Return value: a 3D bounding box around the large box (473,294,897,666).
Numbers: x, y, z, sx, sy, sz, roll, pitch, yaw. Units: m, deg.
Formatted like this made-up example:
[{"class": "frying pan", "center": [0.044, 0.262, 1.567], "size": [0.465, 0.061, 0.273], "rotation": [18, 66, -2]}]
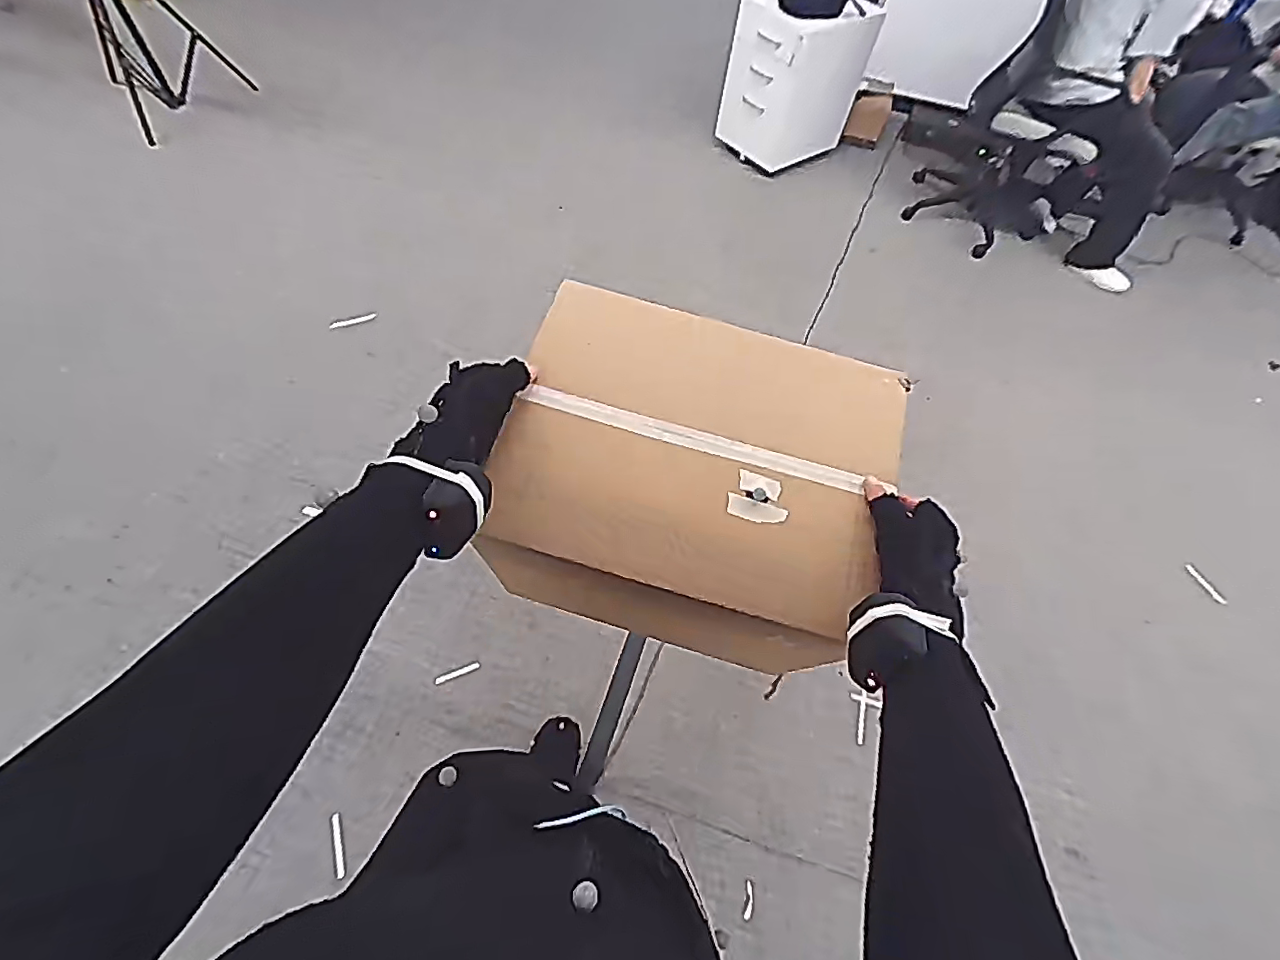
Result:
[{"class": "large box", "center": [0.054, 0.023, 0.705], "size": [0.408, 0.320, 0.320], "rotation": [17, 67, 3]}]
